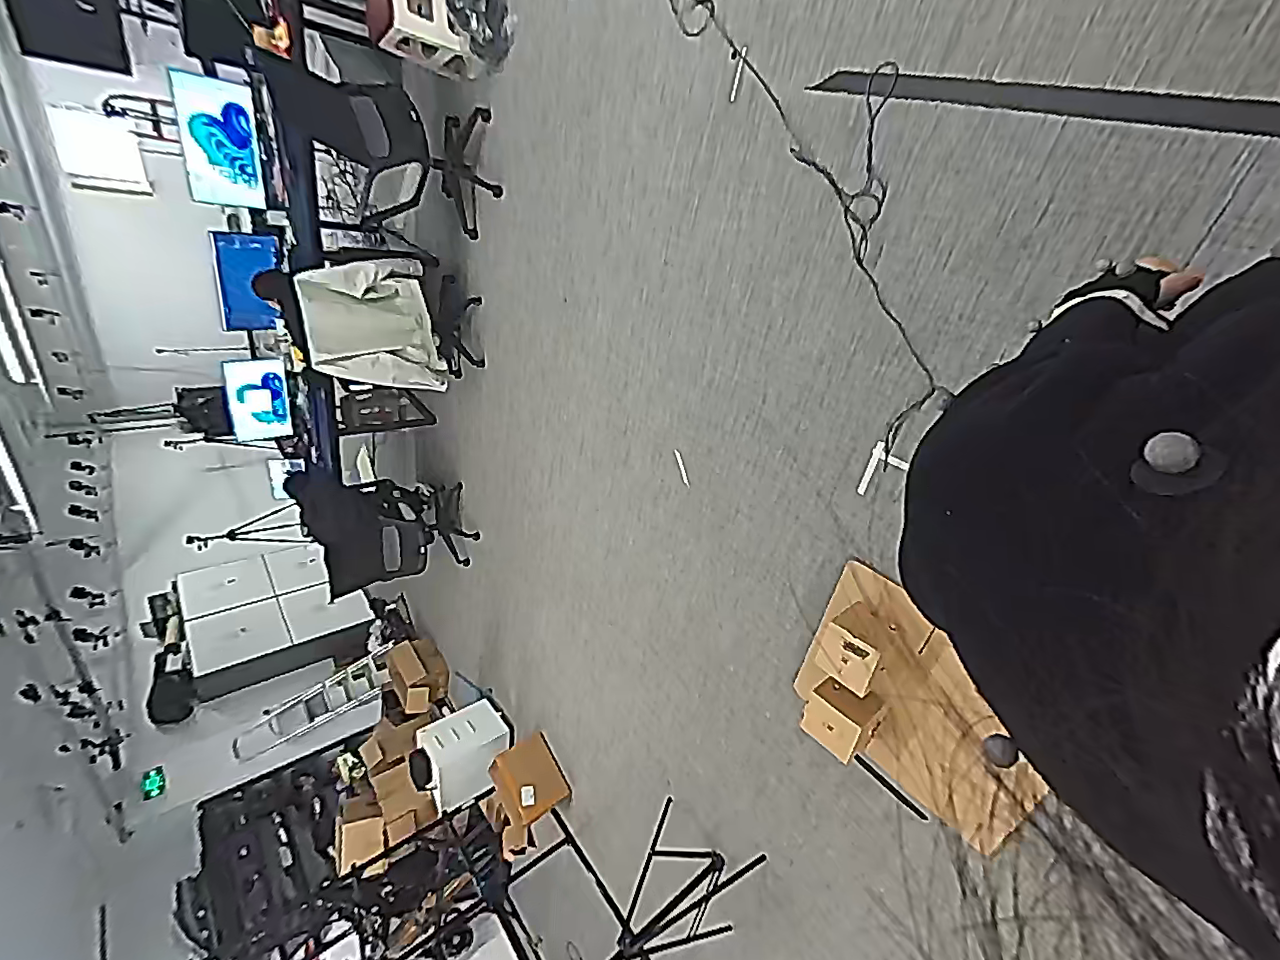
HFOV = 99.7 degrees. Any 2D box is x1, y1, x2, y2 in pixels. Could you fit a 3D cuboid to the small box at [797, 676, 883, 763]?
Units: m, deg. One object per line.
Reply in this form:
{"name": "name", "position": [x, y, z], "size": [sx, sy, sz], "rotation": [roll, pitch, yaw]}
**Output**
{"name": "small box", "position": [0.638, 0.745, 1.722], "size": [0.179, 0.176, 0.168], "rotation": [30, 124, 40]}

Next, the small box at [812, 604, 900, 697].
{"name": "small box", "position": [0.654, 0.503, 1.626], "size": [0.168, 0.176, 0.179], "rotation": [33, 125, 40]}
